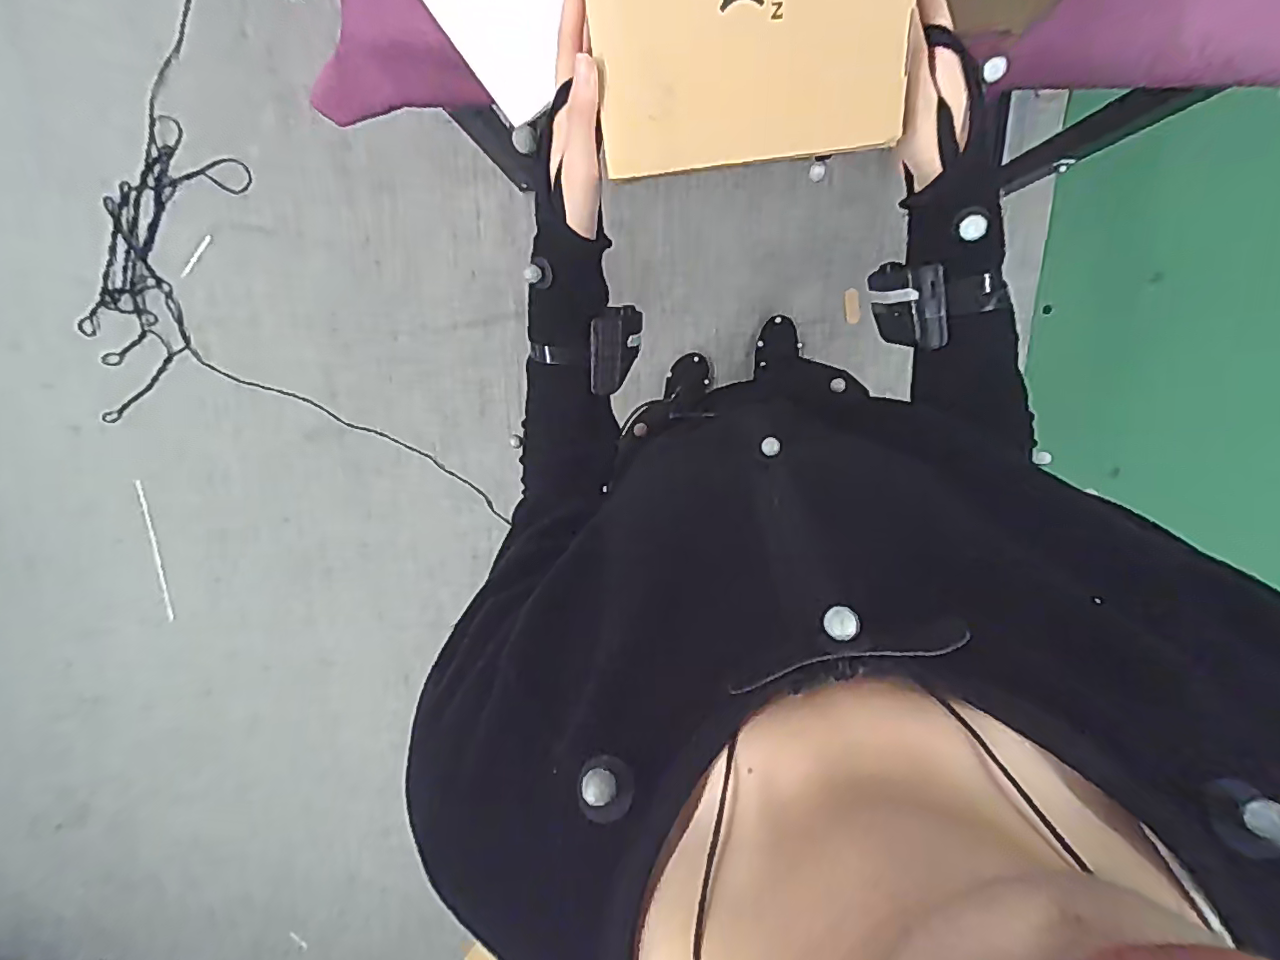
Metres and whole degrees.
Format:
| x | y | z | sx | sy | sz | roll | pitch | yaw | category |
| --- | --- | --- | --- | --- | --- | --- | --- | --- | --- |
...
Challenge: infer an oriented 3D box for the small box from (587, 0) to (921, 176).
| x | y | z | sx | sy | sz | roll | pitch | yaw | category |
| --- | --- | --- | --- | --- | --- | --- | --- | --- | --- |
| 0.056 | -0.298 | 0.345 | 0.179 | 0.176 | 0.168 | -7 | 118 | 1 | small box |
